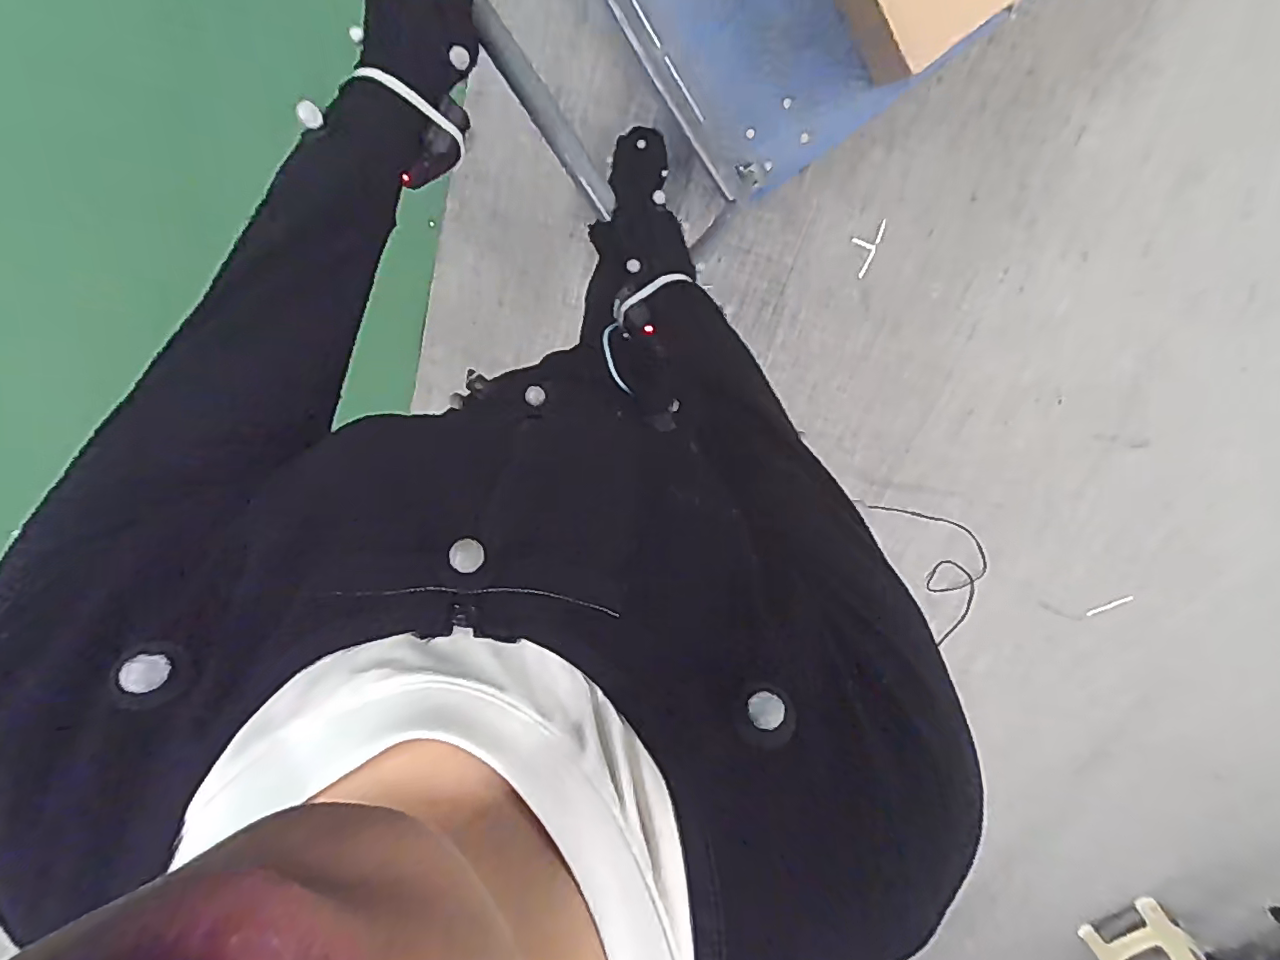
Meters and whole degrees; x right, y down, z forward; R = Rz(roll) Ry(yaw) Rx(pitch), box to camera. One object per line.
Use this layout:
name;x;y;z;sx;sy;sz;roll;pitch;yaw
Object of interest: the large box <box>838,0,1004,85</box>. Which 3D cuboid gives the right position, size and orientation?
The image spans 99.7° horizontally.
large box;0.402;-0.850;0.738;0.320;0.320;0.408;-28;111;28
